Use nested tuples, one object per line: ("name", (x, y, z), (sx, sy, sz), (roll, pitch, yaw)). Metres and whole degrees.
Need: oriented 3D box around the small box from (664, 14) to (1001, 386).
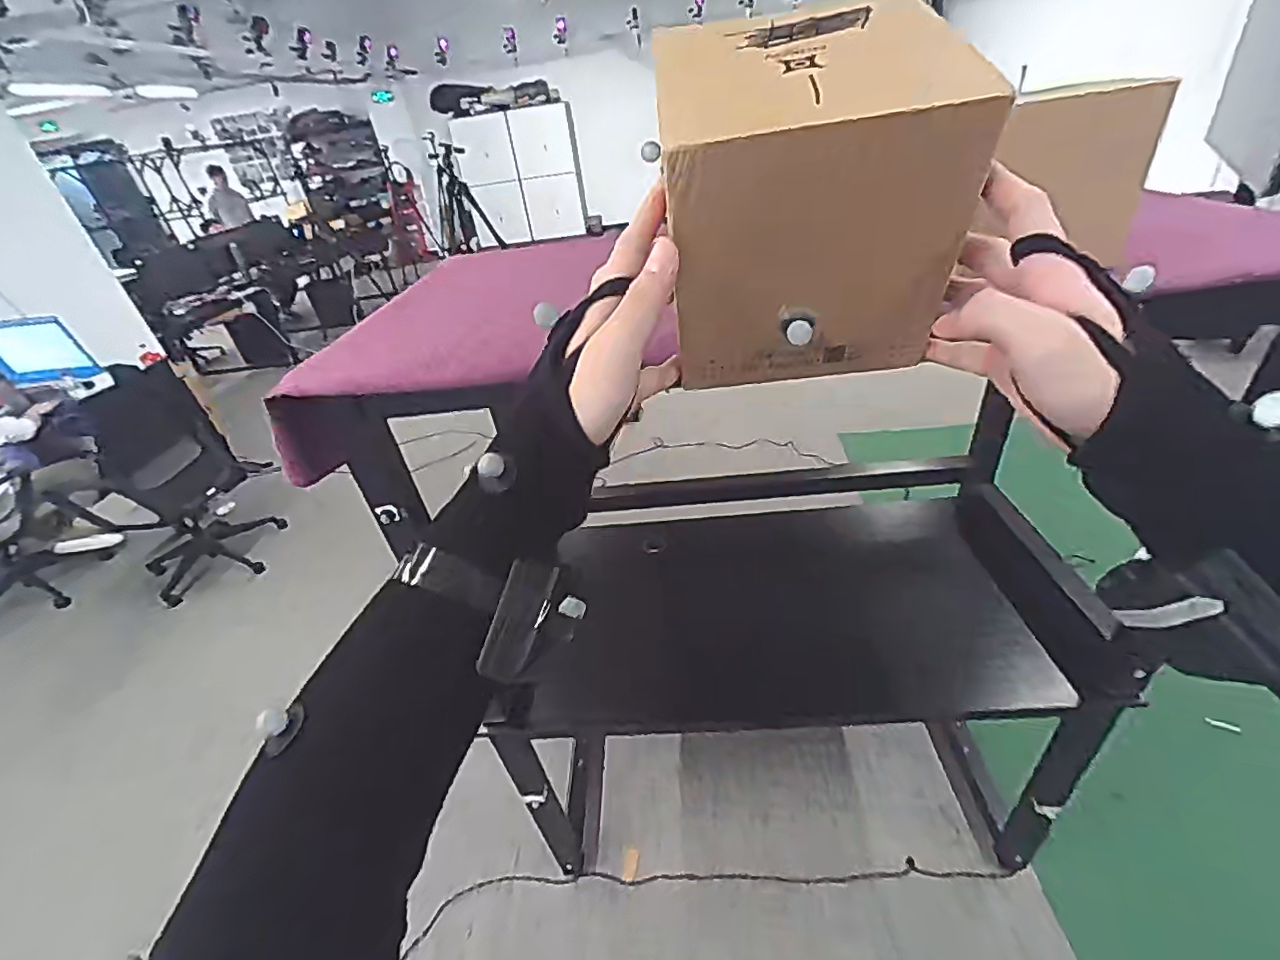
("small box", (0.106, -0.191, 0.384), (0.168, 0.176, 0.179), (-5, 53, 6))
